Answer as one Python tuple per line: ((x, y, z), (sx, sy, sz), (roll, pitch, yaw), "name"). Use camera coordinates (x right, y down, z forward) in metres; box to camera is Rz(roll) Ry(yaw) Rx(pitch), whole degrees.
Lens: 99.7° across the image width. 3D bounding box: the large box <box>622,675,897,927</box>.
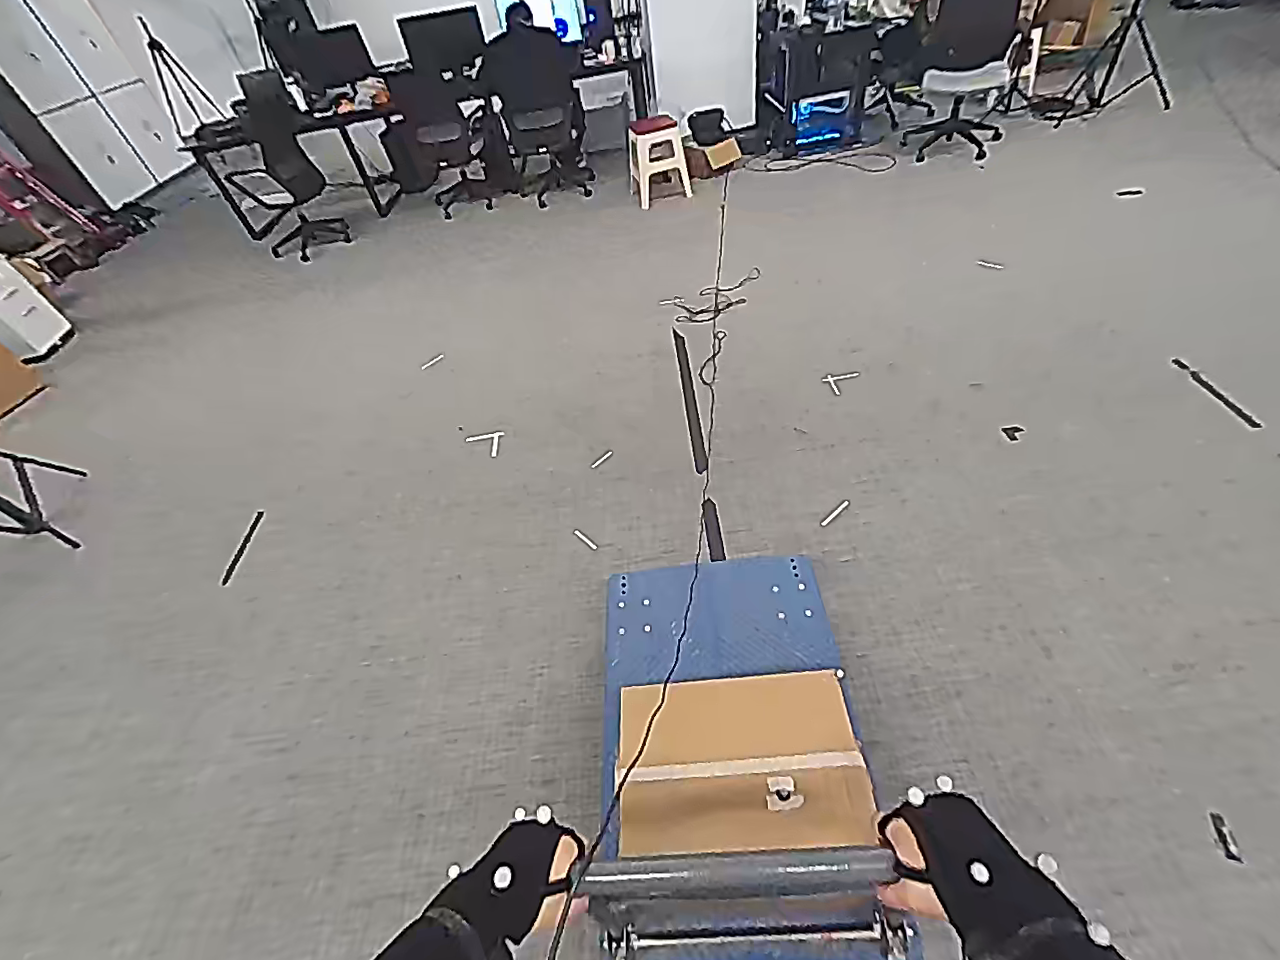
((0.188, 0.590, 0.990), (0.408, 0.320, 0.320), (-7, 45, 5), "large box")
